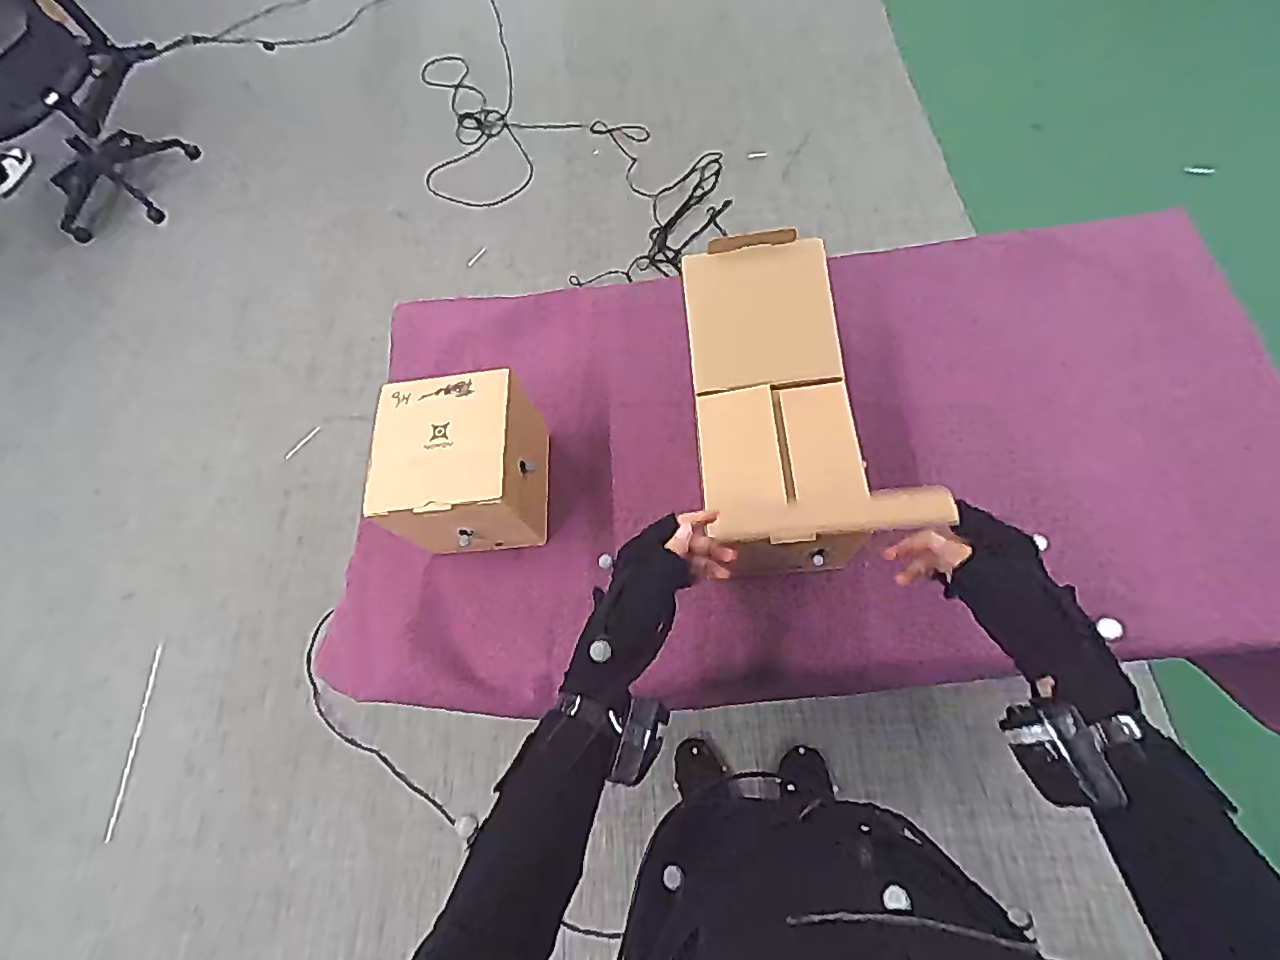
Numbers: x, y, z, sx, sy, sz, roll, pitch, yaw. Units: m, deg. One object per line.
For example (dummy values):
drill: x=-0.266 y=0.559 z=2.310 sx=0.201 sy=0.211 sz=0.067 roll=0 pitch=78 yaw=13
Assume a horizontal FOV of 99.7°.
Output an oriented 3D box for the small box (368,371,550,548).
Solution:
small box: x=-0.218 y=-0.015 z=0.701 sx=0.168 sy=0.176 sz=0.179 roll=-6 pitch=67 yaw=6

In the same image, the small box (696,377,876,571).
small box: x=0.158 y=0.005 z=0.635 sx=0.168 sy=0.176 sz=0.179 roll=-5 pitch=66 yaw=6
